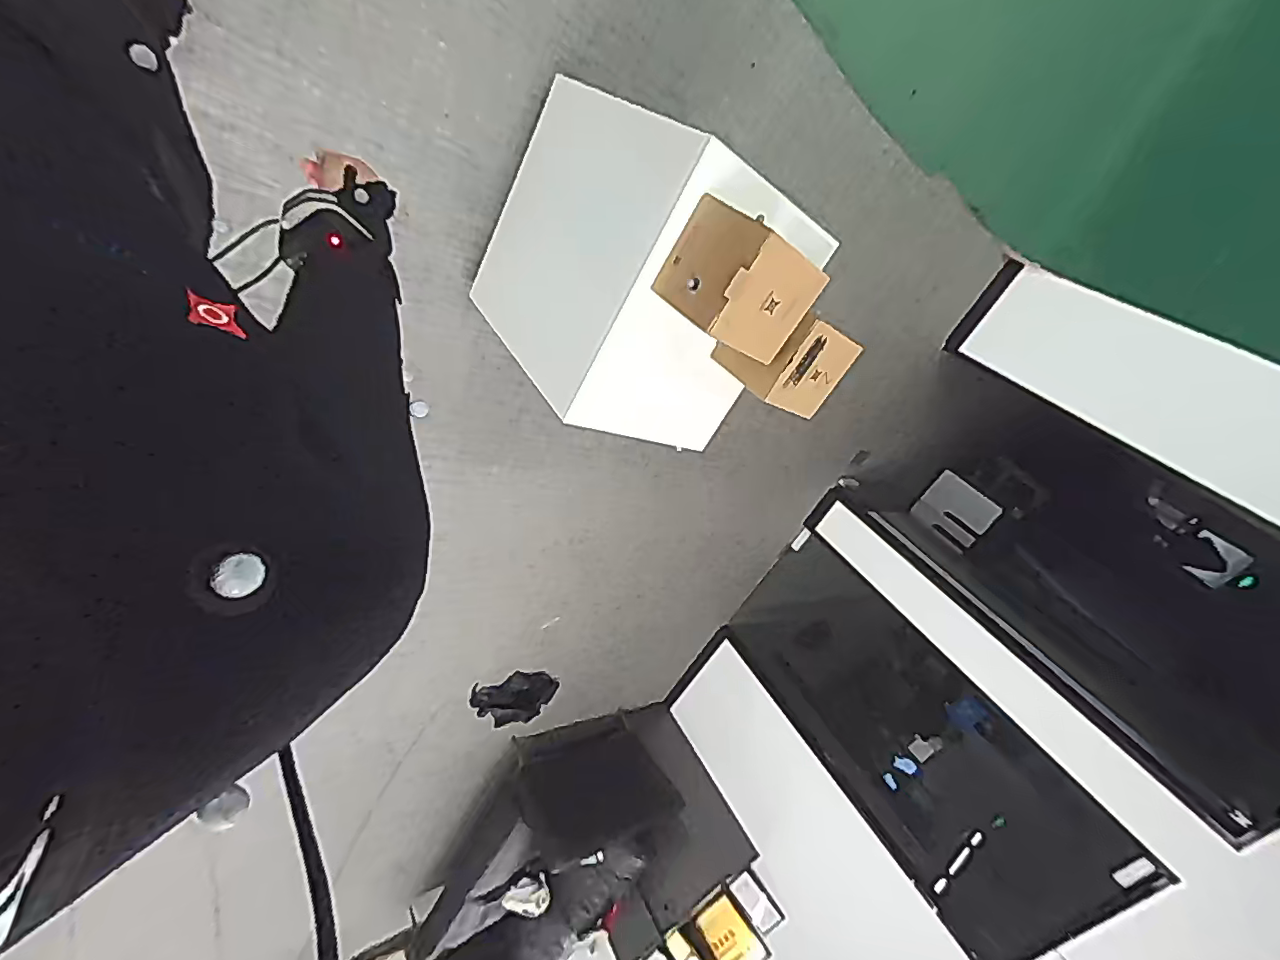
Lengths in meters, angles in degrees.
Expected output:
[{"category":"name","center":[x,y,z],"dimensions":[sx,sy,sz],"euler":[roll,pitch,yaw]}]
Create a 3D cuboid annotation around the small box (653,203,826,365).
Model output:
[{"category":"small box","center":[0.153,-0.316,0.870],"dimensions":[0.179,0.176,0.168],"euler":[8,124,-46]}]
